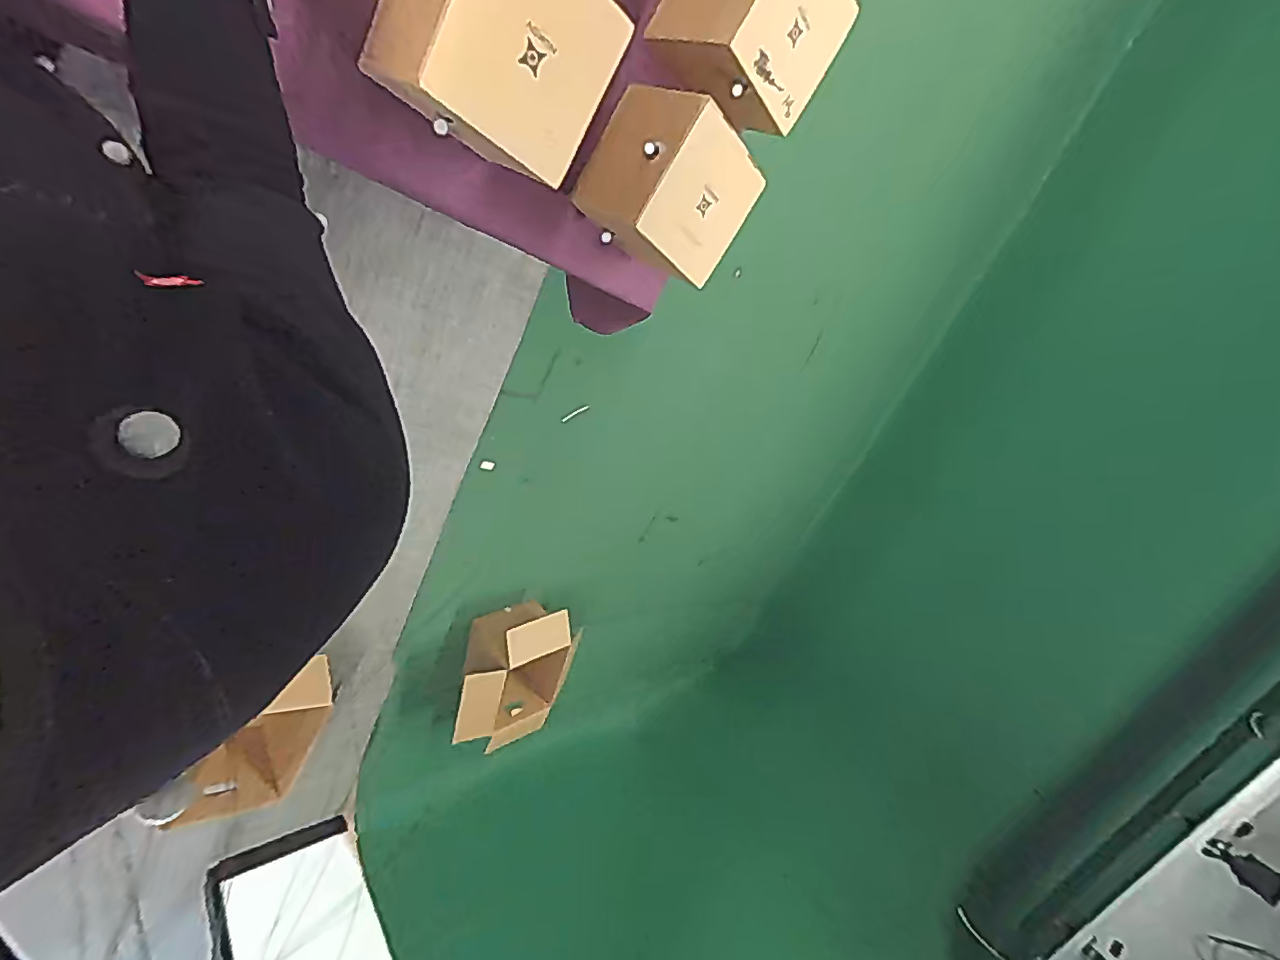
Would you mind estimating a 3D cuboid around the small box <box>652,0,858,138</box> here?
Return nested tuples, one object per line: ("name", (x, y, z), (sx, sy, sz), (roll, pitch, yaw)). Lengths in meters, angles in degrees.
("small box", (0.147, -0.600, 0.713), (0.168, 0.176, 0.179), (16, 110, -52))

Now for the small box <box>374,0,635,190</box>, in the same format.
("small box", (-0.145, -0.441, 0.551), (0.168, 0.176, 0.179), (13, 113, -51))
